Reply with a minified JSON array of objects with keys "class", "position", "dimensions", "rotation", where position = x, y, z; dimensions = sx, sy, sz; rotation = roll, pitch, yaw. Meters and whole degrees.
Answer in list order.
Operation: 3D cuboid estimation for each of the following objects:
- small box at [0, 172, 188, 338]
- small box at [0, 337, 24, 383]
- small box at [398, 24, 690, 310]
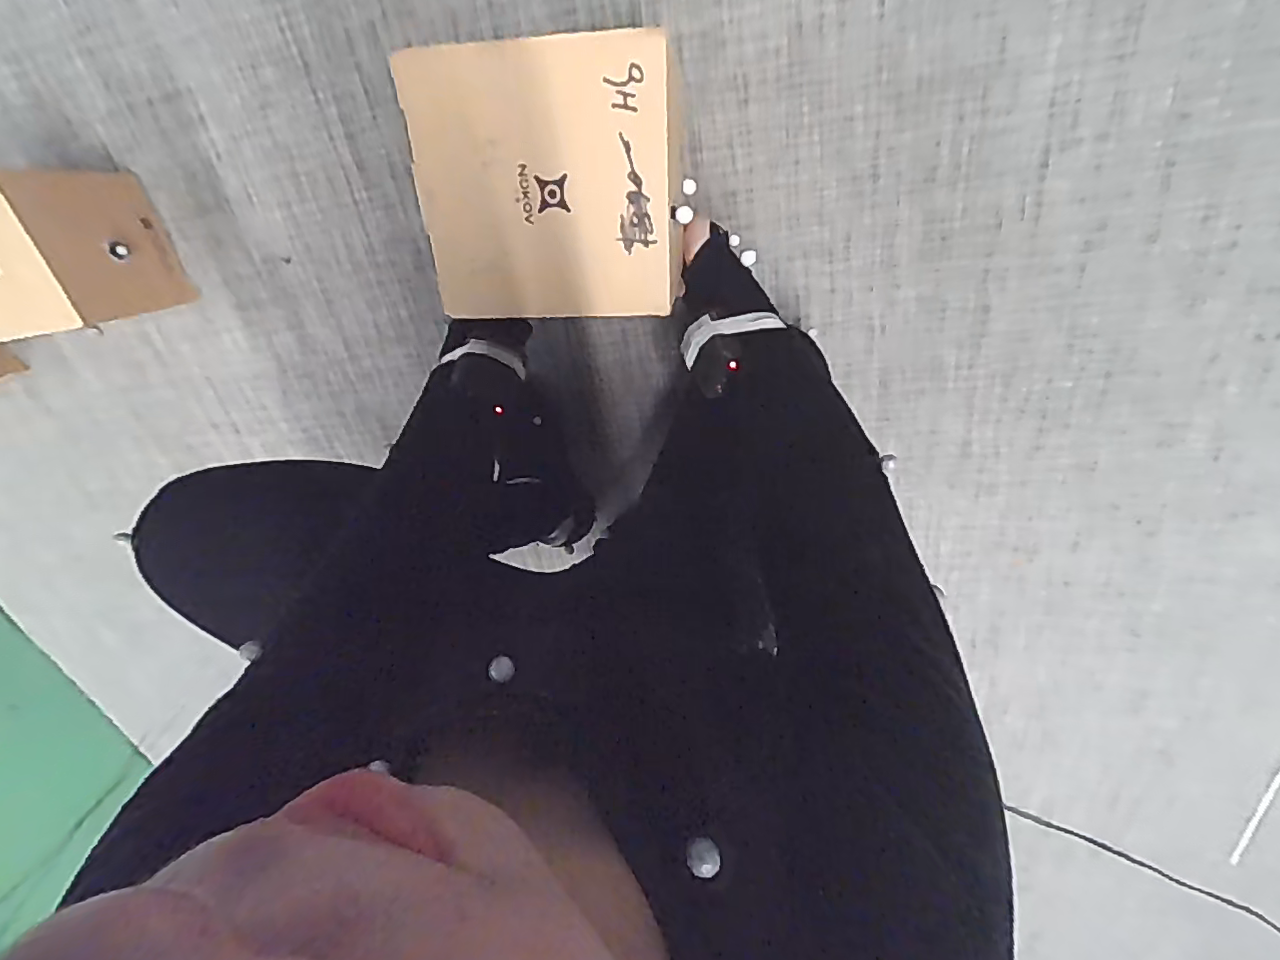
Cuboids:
[{"class":"small box","position":[-0.740,-0.291,0.694],"dimensions":[0.179,0.176,0.168],"rotation":[-4,117,11]},{"class":"small box","position":[-1.110,-0.192,0.803],"dimensions":[0.179,0.176,0.168],"rotation":[-16,115,16]},{"class":"small box","position":[-0.054,-0.237,0.435],"dimensions":[0.179,0.176,0.168],"rotation":[2,119,8]}]
